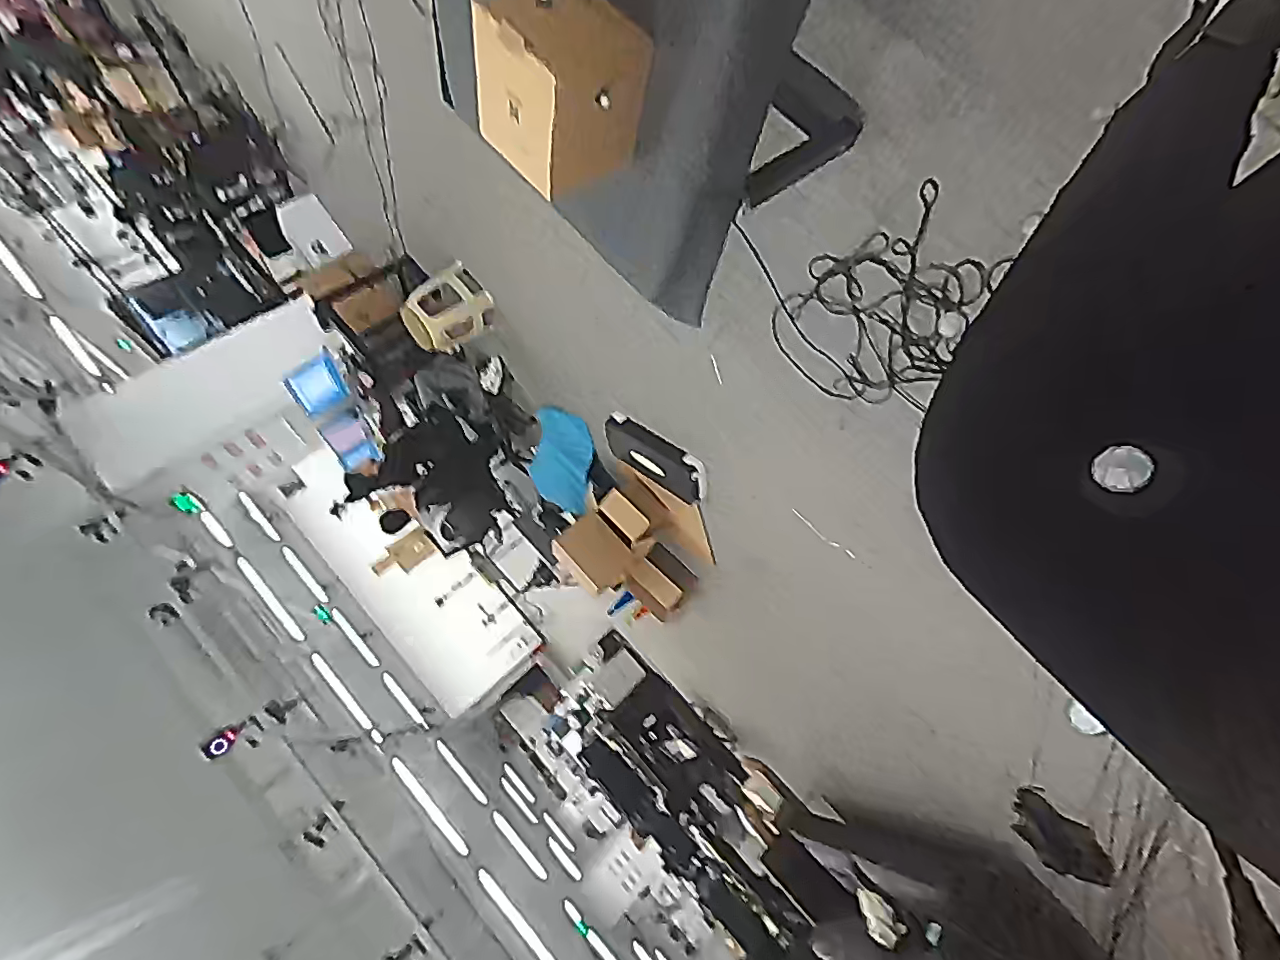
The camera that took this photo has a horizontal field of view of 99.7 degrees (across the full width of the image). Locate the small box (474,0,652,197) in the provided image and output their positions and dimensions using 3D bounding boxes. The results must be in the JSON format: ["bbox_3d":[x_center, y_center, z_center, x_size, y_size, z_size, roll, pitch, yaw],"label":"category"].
[{"bbox_3d":[-0.104,-0.545,0.749,0.168,0.176,0.179,47,157,10],"label":"small box"}]
